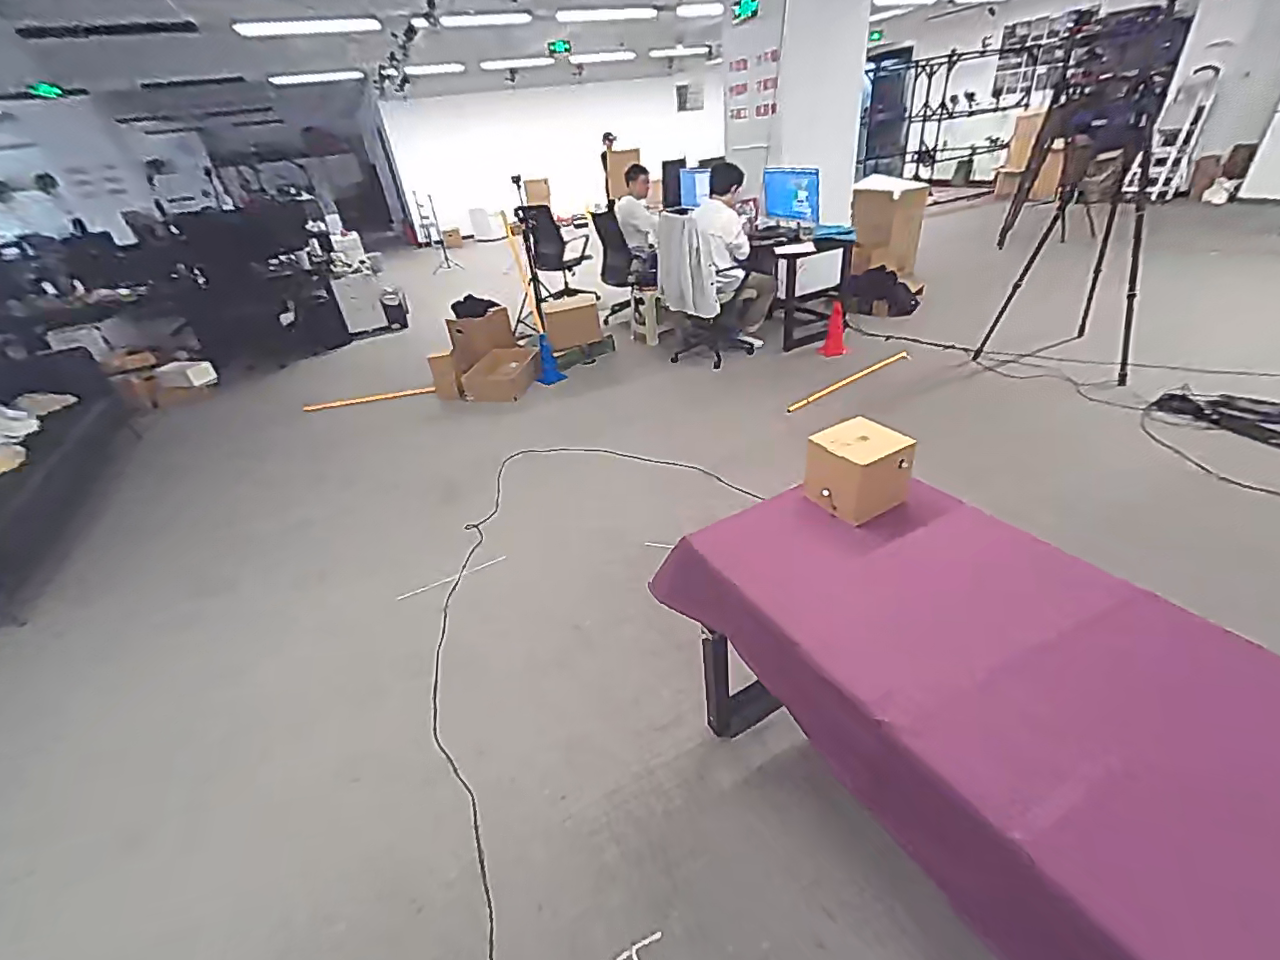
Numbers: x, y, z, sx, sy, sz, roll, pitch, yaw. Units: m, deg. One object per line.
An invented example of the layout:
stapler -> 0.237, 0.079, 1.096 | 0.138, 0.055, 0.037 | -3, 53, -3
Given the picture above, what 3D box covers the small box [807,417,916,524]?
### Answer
small box -> 0.515, -0.024, 1.285 | 0.179, 0.176, 0.168 | -21, 35, -21
